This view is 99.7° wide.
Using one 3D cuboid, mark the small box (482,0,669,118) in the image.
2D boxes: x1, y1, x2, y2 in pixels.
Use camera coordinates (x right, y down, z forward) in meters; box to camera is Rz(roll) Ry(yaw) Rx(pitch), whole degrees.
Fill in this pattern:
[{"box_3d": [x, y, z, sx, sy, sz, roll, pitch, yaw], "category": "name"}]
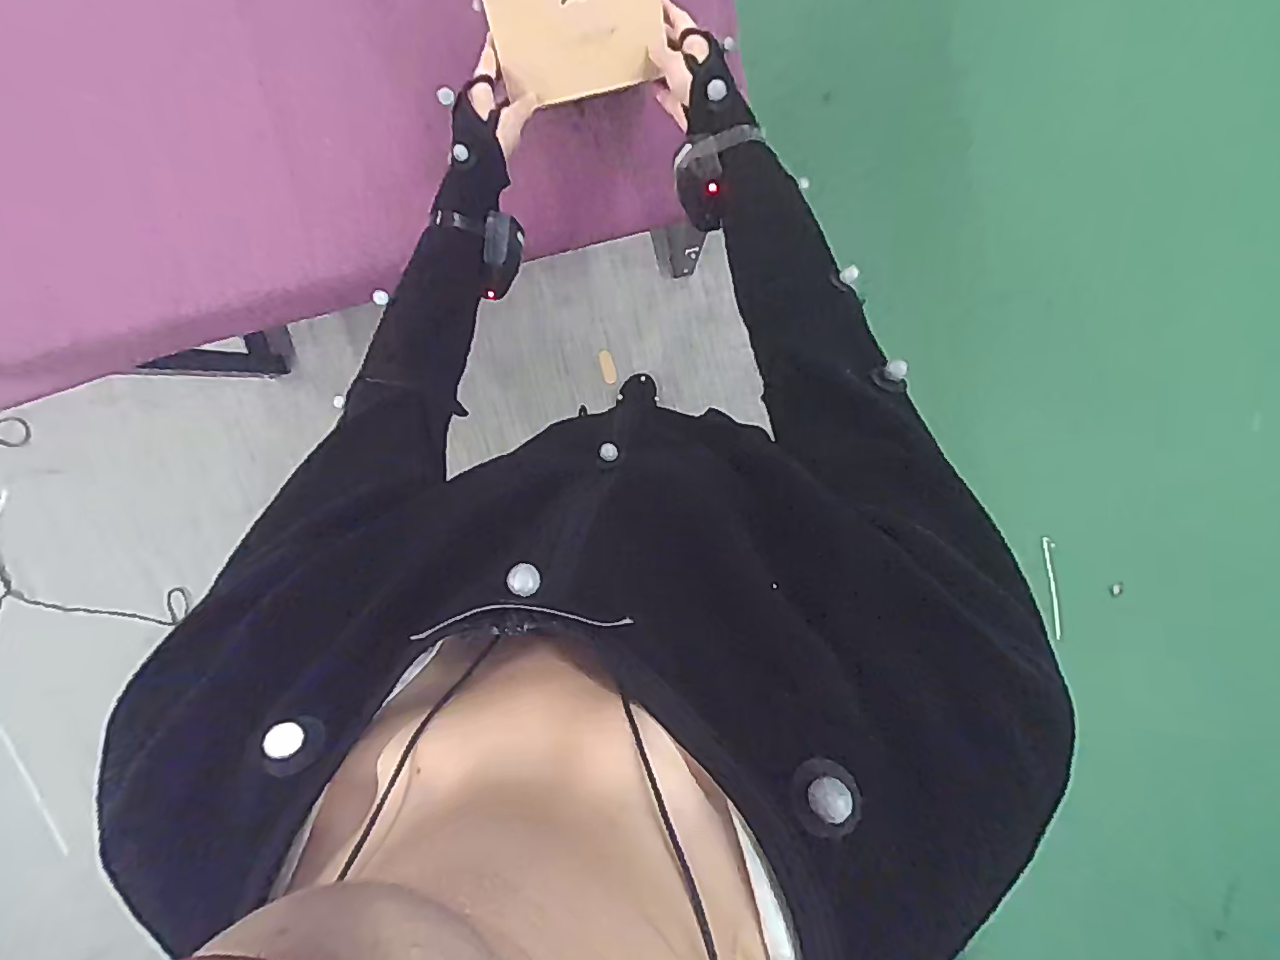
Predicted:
[{"box_3d": [-0.073, -0.495, 0.560, 0.168, 0.176, 0.179, -12, 123, 3], "category": "small box"}]
